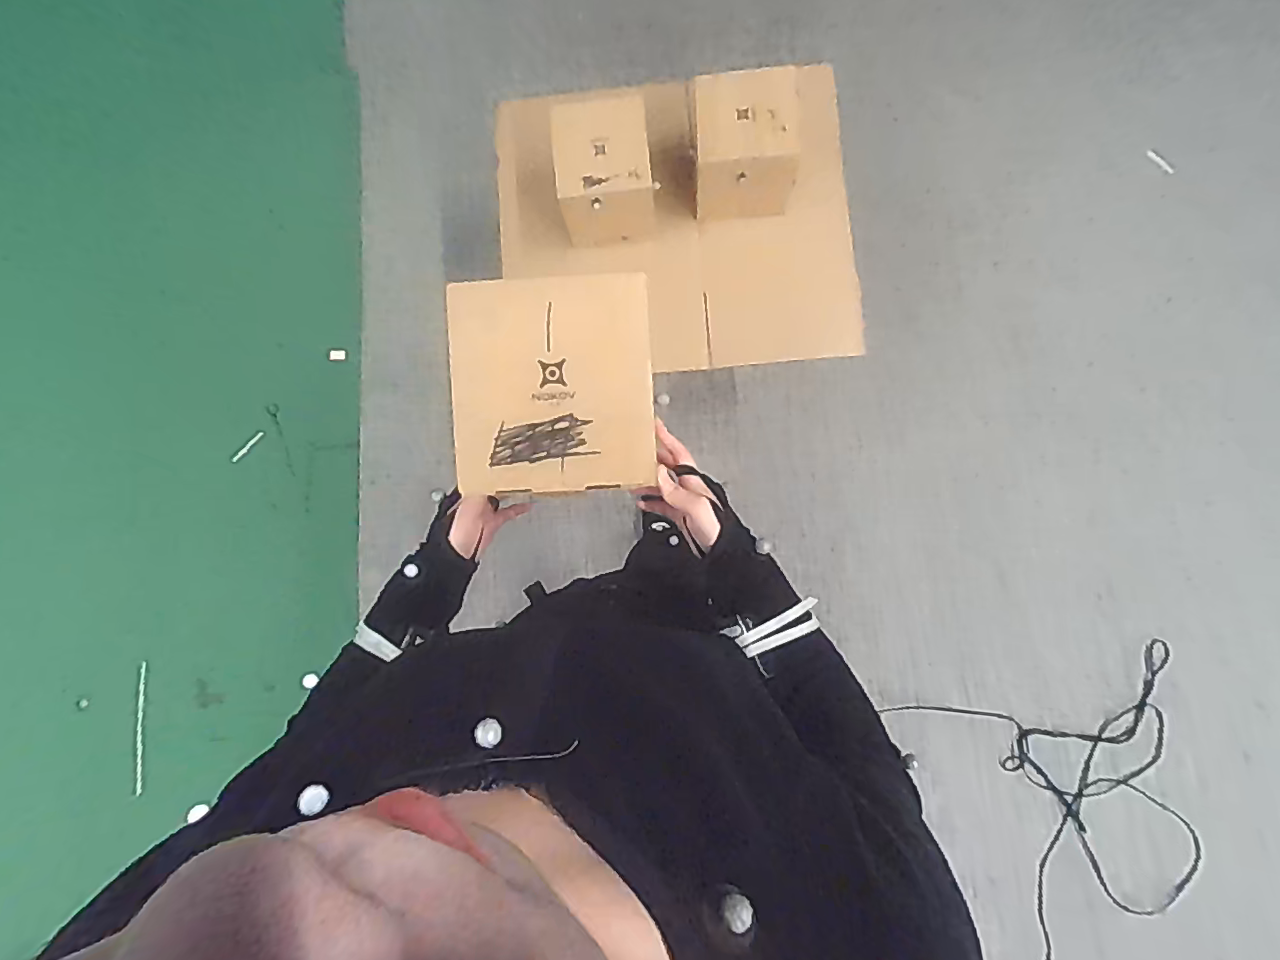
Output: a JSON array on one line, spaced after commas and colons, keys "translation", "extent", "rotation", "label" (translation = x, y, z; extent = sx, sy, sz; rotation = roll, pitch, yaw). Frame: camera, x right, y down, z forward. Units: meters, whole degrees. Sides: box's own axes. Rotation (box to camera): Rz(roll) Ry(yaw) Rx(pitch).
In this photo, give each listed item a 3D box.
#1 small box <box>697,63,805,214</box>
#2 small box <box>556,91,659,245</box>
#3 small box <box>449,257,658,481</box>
[{"translation": [0.195, -0.610, 0.987], "extent": [0.179, 0.176, 0.168], "rotation": [-1, 85, 6], "label": "small box"}, {"translation": [-0.054, -0.567, 1.001], "extent": [0.168, 0.176, 0.179], "rotation": [-5, 83, 4], "label": "small box"}, {"translation": [-0.068, -0.091, 0.518], "extent": [0.168, 0.176, 0.179], "rotation": [-3, 90, 2], "label": "small box"}]
